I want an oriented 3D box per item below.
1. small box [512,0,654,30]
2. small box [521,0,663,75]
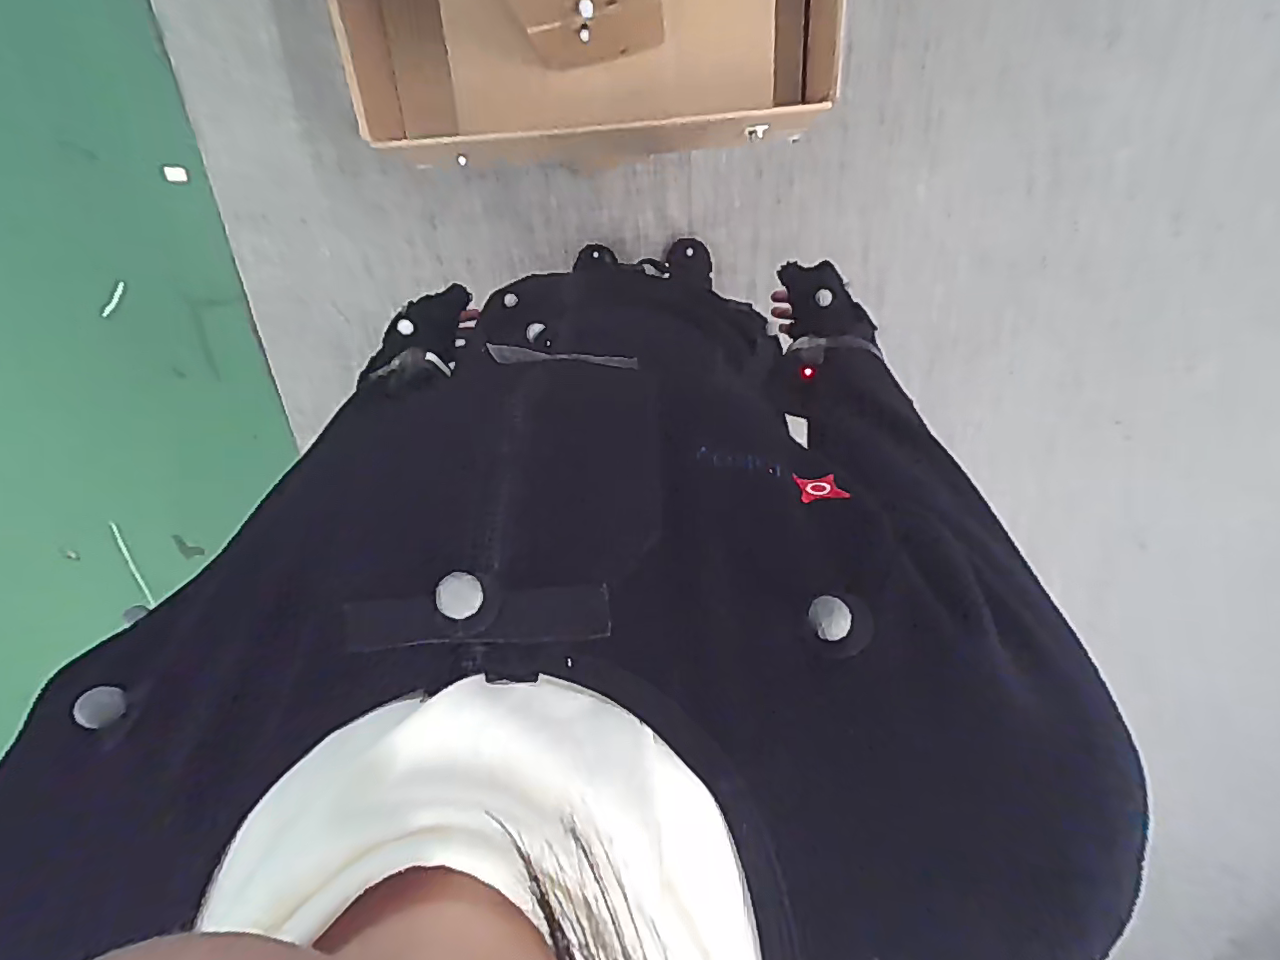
[{"bbox_3d":[-0.073,-0.582,0.519,0.168,0.176,0.179,-7,114,6],"label":"small box"},{"bbox_3d":[-0.066,-0.646,0.670,0.168,0.176,0.179,-8,112,8],"label":"small box"}]
